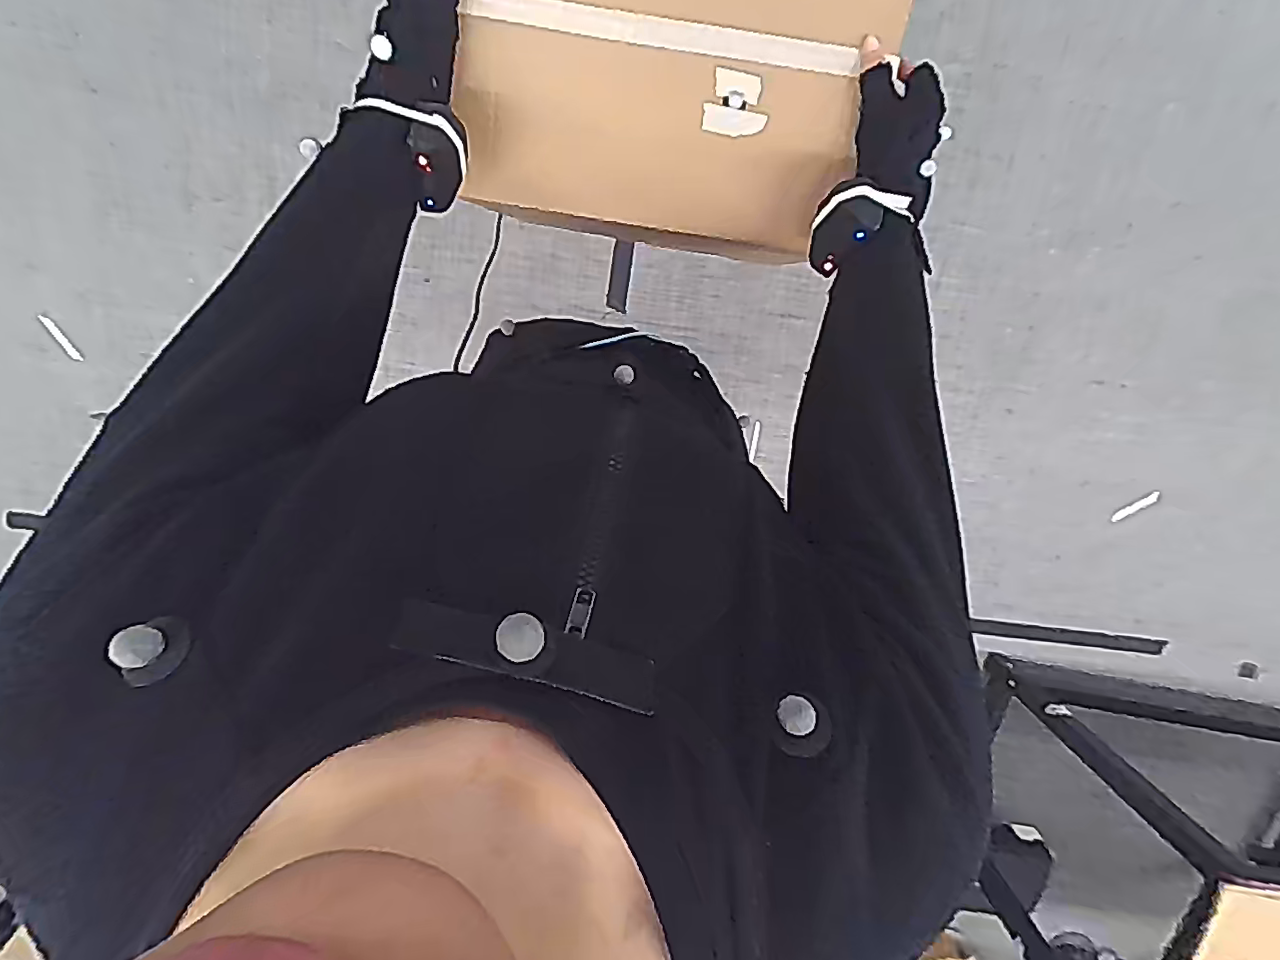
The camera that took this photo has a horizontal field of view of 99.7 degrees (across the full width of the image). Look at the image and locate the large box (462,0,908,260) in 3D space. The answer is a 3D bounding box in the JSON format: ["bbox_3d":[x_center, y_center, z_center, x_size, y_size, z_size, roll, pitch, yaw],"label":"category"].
[{"bbox_3d":[0.037,-0.455,0.638,0.408,0.320,0.320,9,112,-2],"label":"large box"}]
